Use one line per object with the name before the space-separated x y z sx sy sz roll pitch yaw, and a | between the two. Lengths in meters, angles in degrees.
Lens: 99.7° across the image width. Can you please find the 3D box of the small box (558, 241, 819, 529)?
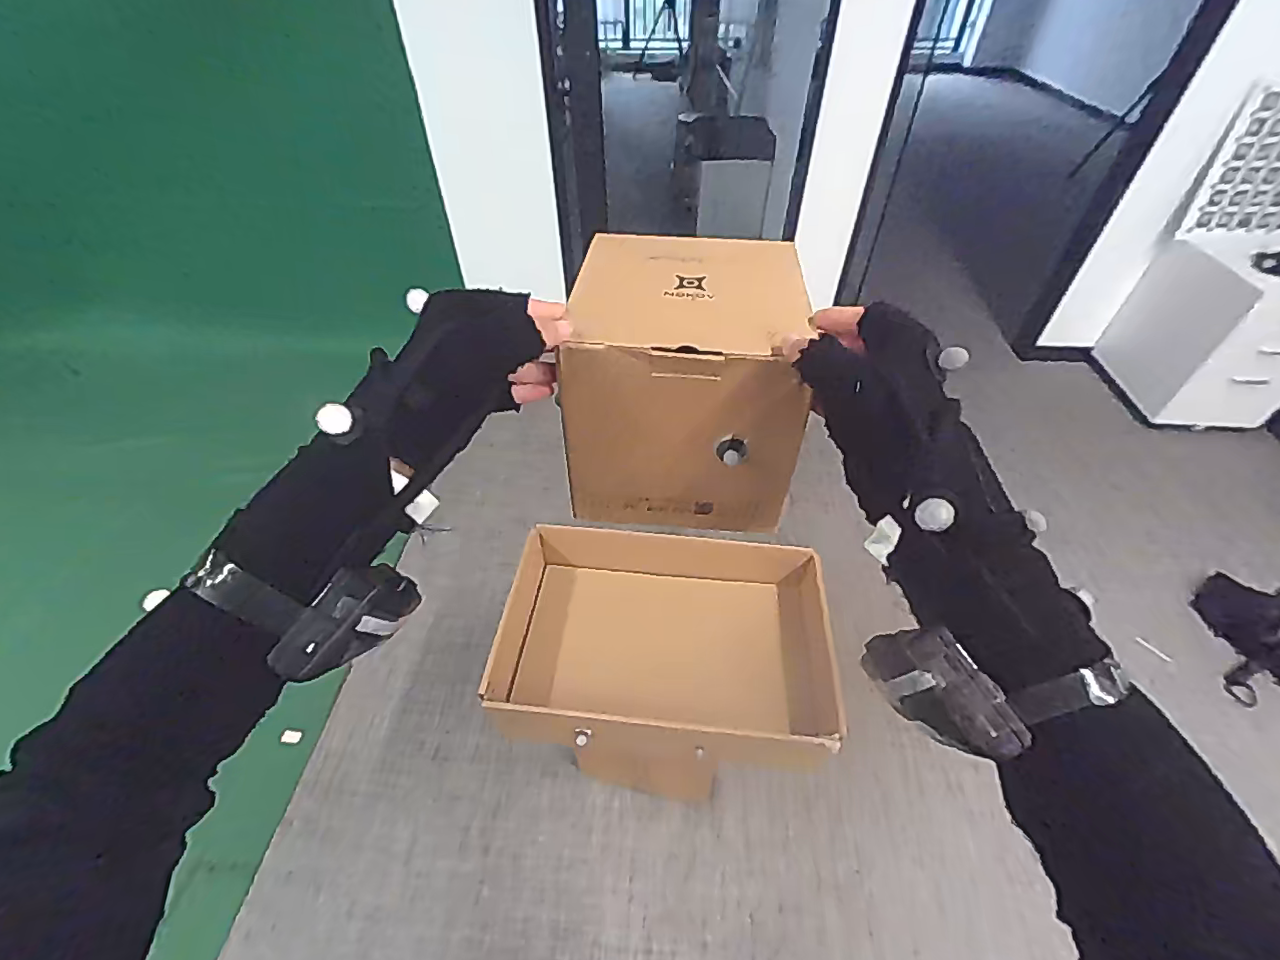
small box | 0.035 -0.078 0.446 0.168 0.176 0.179 4 44 2
